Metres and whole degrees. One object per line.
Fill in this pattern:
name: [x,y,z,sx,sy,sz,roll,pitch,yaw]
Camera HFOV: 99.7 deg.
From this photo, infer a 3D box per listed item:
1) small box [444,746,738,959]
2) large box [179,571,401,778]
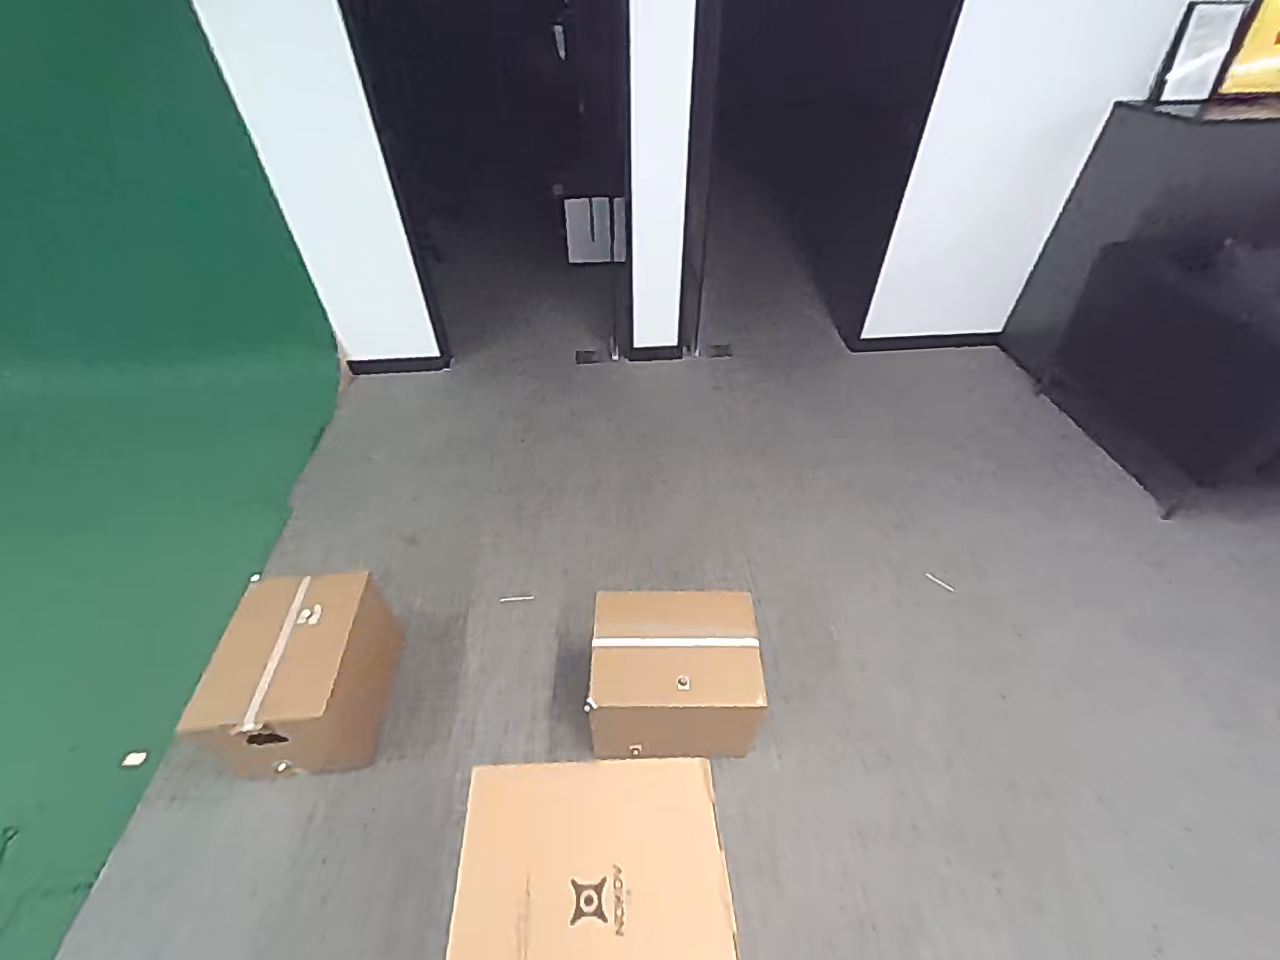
small box: [-0.037,0.313,0.400,0.179,0.176,0.168,2,43,-6]
large box: [-0.870,0.504,1.422,0.320,0.320,0.408,-4,43,-4]
